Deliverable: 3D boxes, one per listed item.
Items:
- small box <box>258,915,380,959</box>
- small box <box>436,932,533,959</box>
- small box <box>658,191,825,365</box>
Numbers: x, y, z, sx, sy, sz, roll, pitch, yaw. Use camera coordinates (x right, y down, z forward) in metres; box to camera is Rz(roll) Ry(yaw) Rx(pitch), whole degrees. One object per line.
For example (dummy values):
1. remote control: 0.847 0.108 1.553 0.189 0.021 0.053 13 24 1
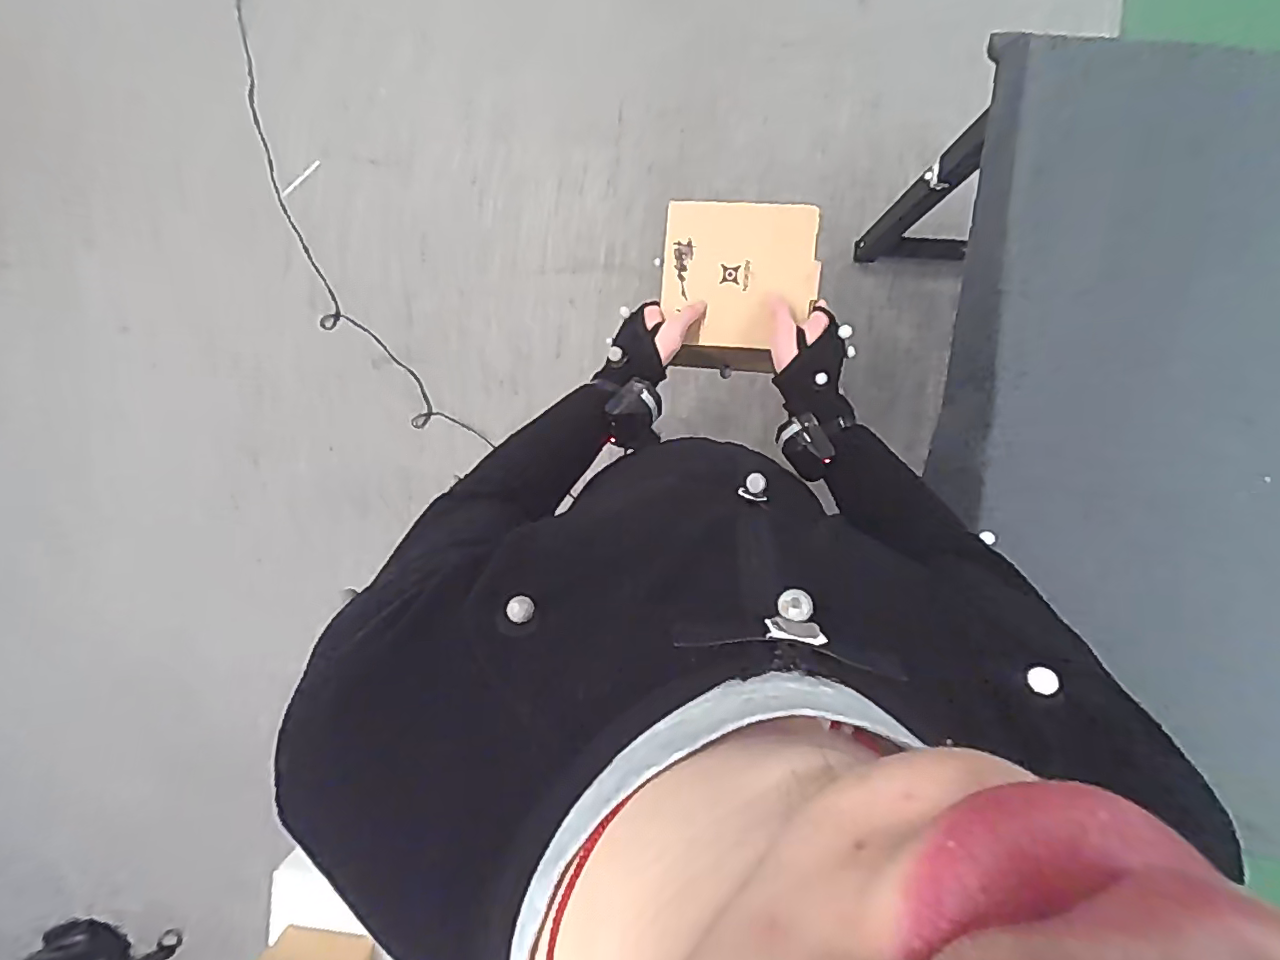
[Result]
1. small box: -0.592 0.919 0.954 0.179 0.176 0.168 8 95 -2
2. small box: -0.294 0.952 0.955 0.179 0.176 0.168 6 94 1
3. small box: 0.119 -0.245 0.695 0.179 0.176 0.168 6 94 4
